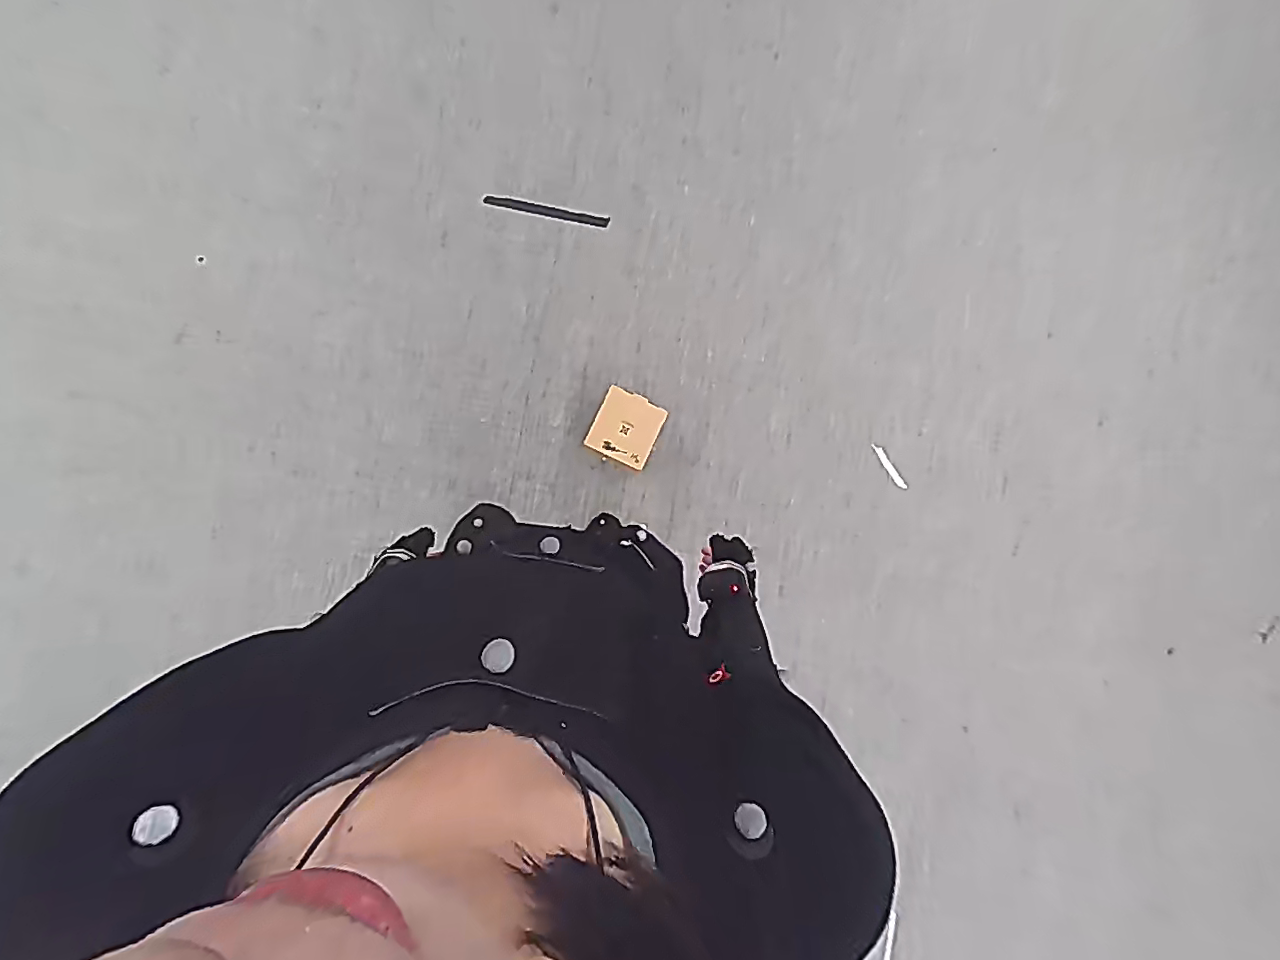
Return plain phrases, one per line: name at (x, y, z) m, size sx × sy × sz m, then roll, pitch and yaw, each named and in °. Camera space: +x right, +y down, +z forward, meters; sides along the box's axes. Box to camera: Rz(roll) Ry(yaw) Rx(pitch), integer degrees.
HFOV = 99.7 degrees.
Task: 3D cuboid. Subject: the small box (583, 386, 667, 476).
small box at (-0.047, -0.126, 1.465) m, size 0.168 × 0.176 × 0.179 m, roll 26°, pitch 84°, yaw -3°
